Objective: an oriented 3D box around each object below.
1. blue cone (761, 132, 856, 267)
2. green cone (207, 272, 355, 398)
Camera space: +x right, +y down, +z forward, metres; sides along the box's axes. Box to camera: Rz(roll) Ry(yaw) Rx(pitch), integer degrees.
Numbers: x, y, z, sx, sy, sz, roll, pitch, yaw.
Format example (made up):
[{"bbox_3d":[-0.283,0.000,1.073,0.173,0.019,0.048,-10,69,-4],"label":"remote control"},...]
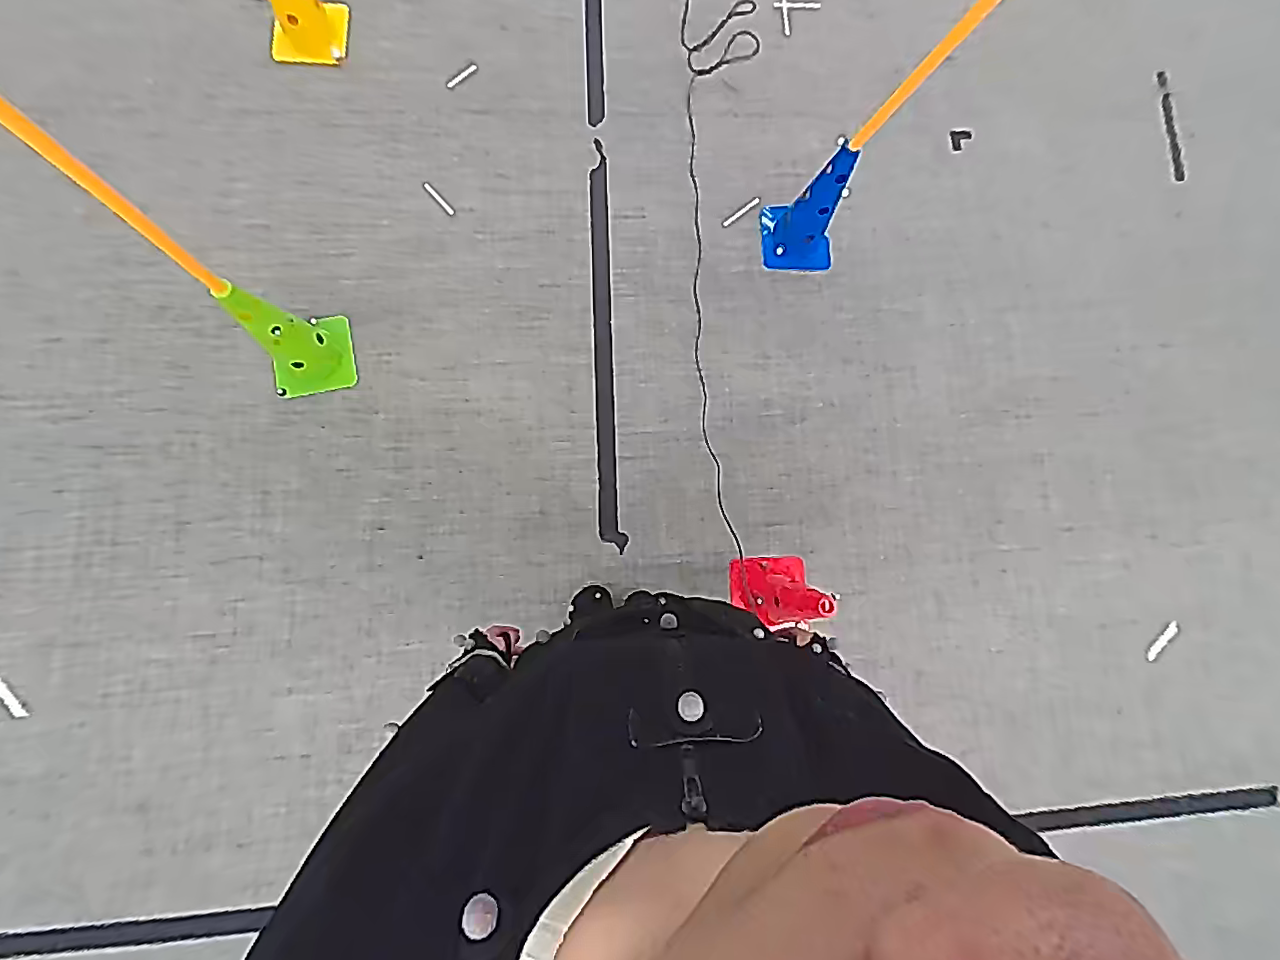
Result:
[{"bbox_3d":[0.461,-0.736,1.410,0.193,0.380,0.192,1,80,-5],"label":"blue cone"},{"bbox_3d":[-0.836,-0.351,1.232,0.200,0.368,0.202,-13,80,-7],"label":"green cone"}]
